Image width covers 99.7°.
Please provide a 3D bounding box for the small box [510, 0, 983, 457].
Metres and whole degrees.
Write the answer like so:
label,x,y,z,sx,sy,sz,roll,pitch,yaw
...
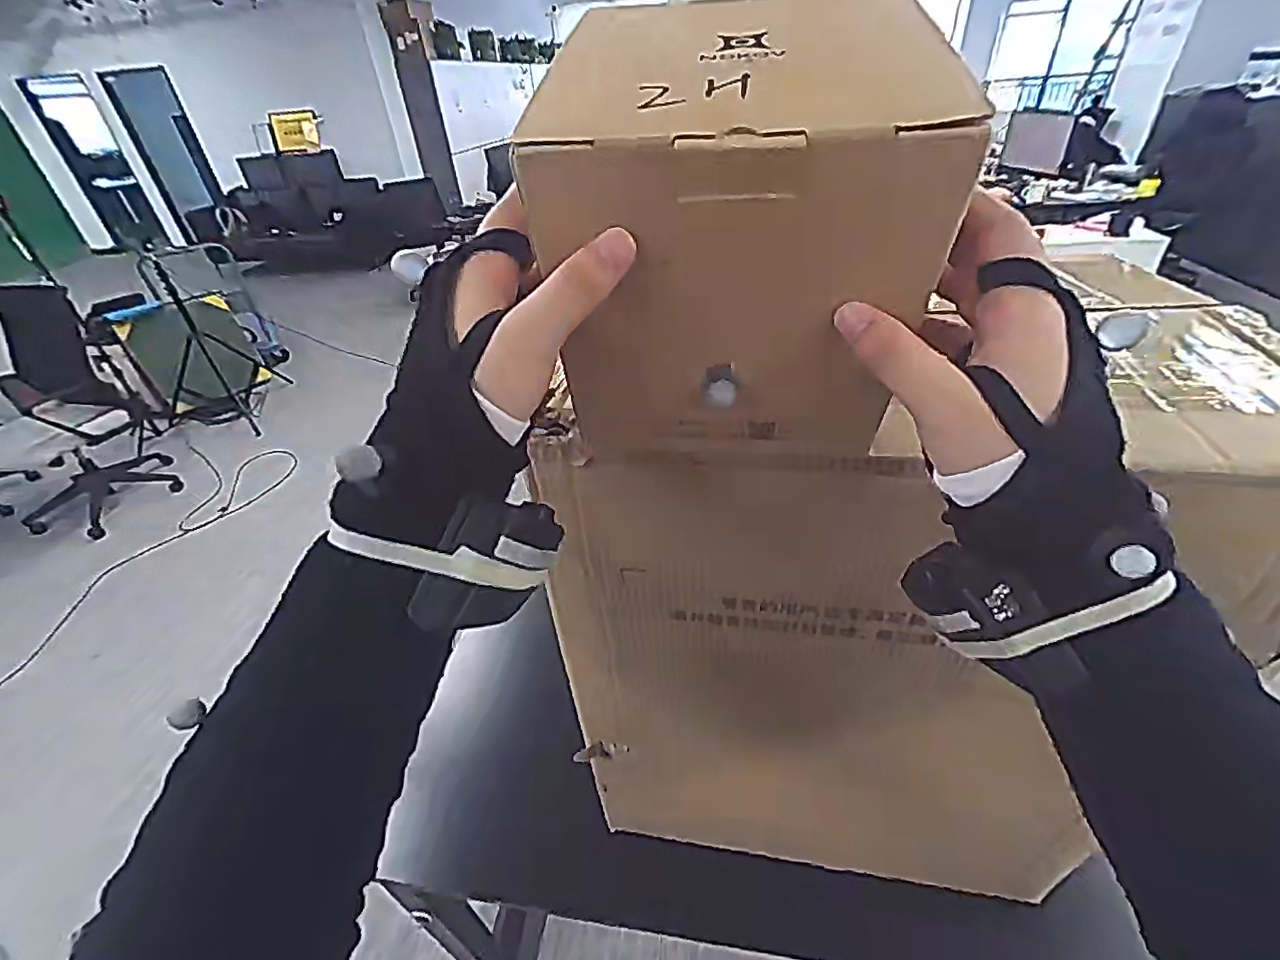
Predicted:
label,x,y,z,sx,sy,sz,roll,pitch,yaw
small box,0.048,-0.135,0.299,0.168,0.176,0.179,2,53,8
